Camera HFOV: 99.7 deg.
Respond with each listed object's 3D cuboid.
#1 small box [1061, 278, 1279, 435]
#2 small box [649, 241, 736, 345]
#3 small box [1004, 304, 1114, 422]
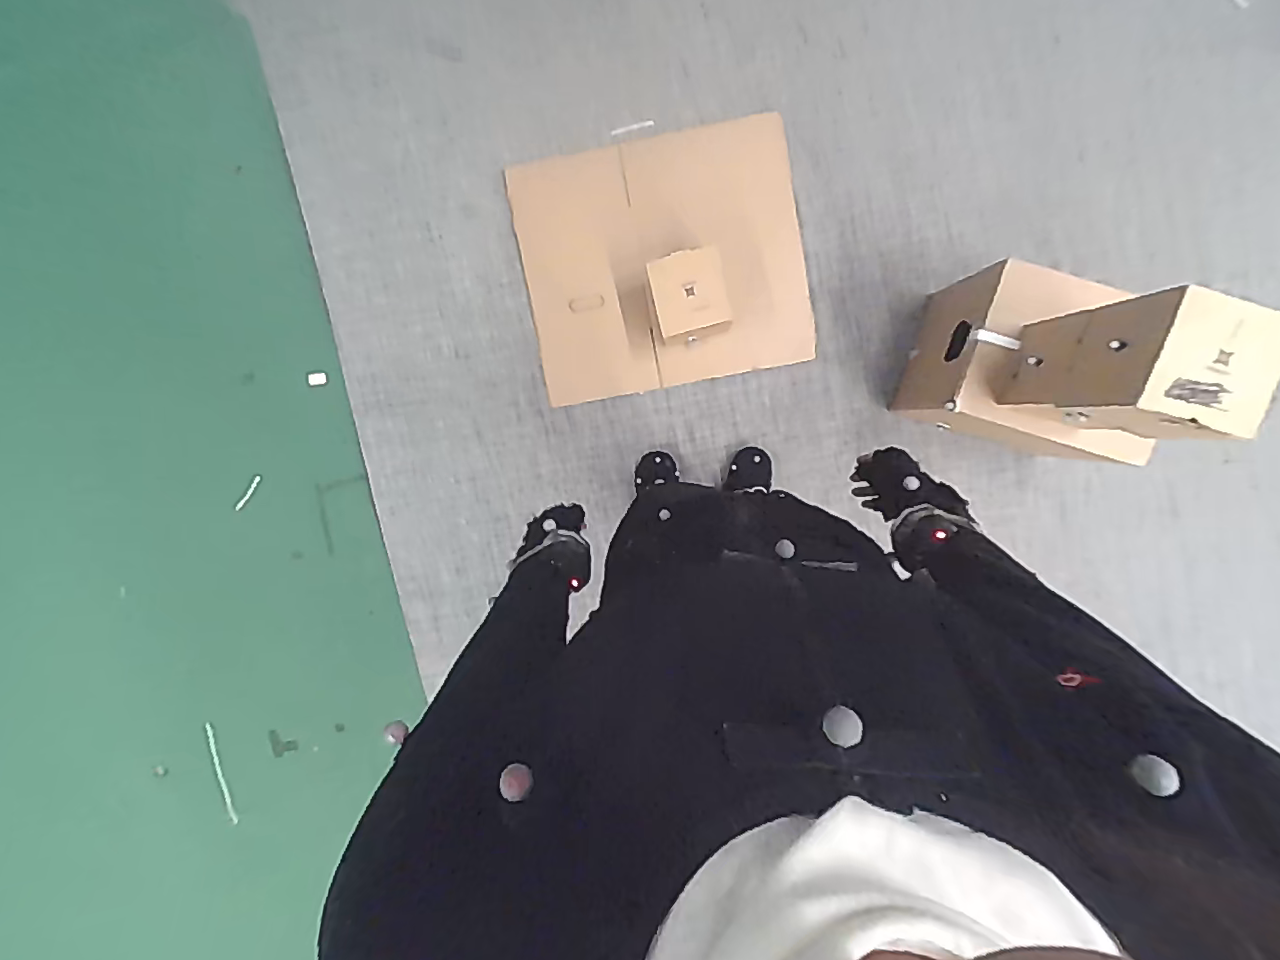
[{"bbox_3d":[0.793,-0.176,0.817,0.168,0.176,0.179,18,96,1],"label":"small box"},{"bbox_3d":[0.125,-0.436,1.288,0.168,0.176,0.179,-14,96,9],"label":"small box"},{"bbox_3d":[0.810,-0.201,0.981,0.179,0.176,0.168,13,95,1],"label":"small box"}]
